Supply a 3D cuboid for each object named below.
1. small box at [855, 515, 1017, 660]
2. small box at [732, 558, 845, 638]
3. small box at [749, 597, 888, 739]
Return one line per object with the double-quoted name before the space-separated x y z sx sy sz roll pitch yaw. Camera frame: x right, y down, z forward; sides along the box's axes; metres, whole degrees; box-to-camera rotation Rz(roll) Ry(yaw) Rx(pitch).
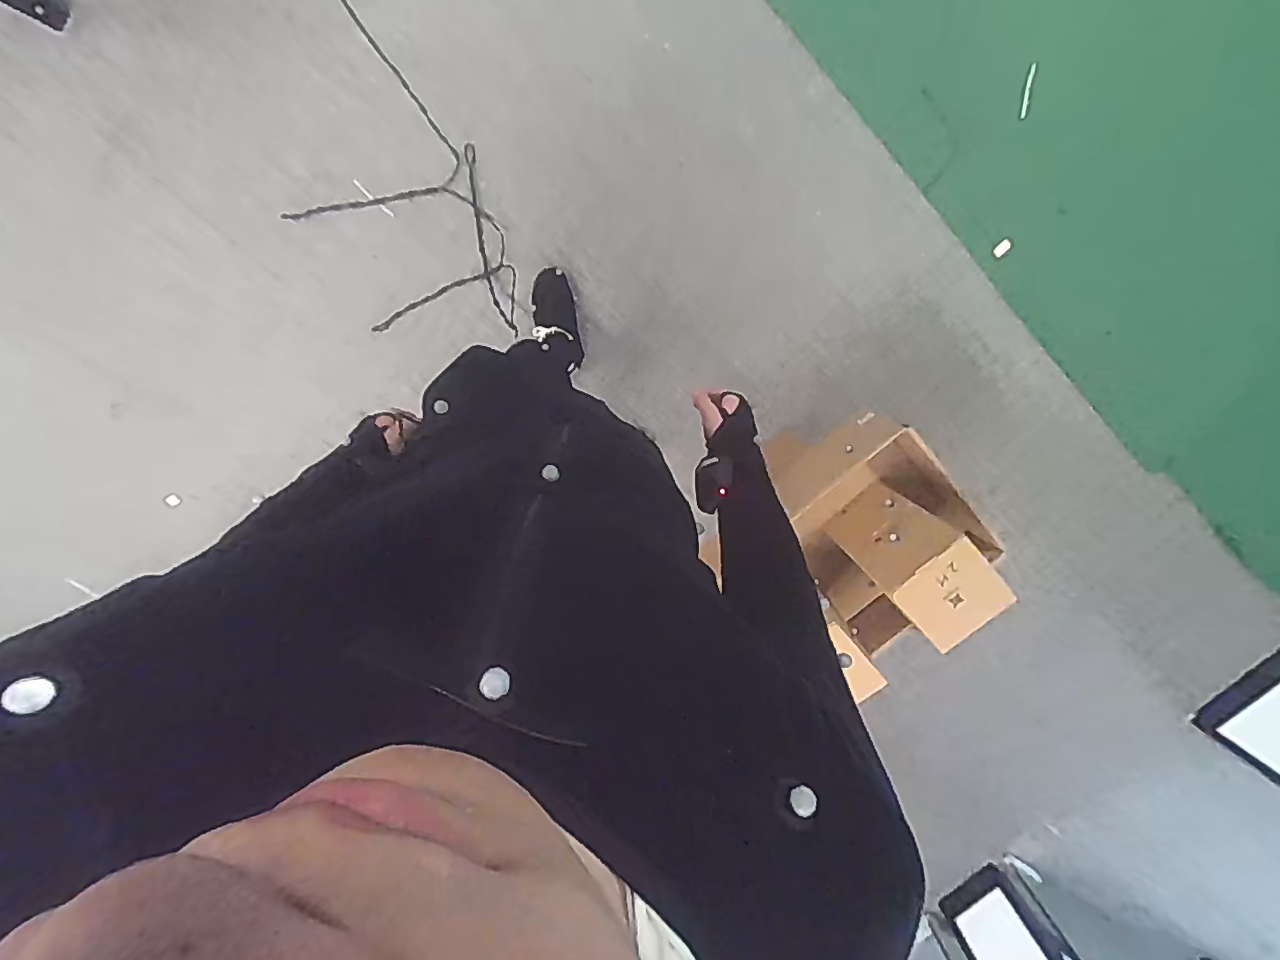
"small box" 0.548 0.194 1.023 0.168 0.176 0.179 -42 104 9
"small box" 0.334 0.309 1.222 0.168 0.176 0.179 -41 103 9
"small box" 0.339 0.356 1.064 0.168 0.176 0.179 -40 104 9
